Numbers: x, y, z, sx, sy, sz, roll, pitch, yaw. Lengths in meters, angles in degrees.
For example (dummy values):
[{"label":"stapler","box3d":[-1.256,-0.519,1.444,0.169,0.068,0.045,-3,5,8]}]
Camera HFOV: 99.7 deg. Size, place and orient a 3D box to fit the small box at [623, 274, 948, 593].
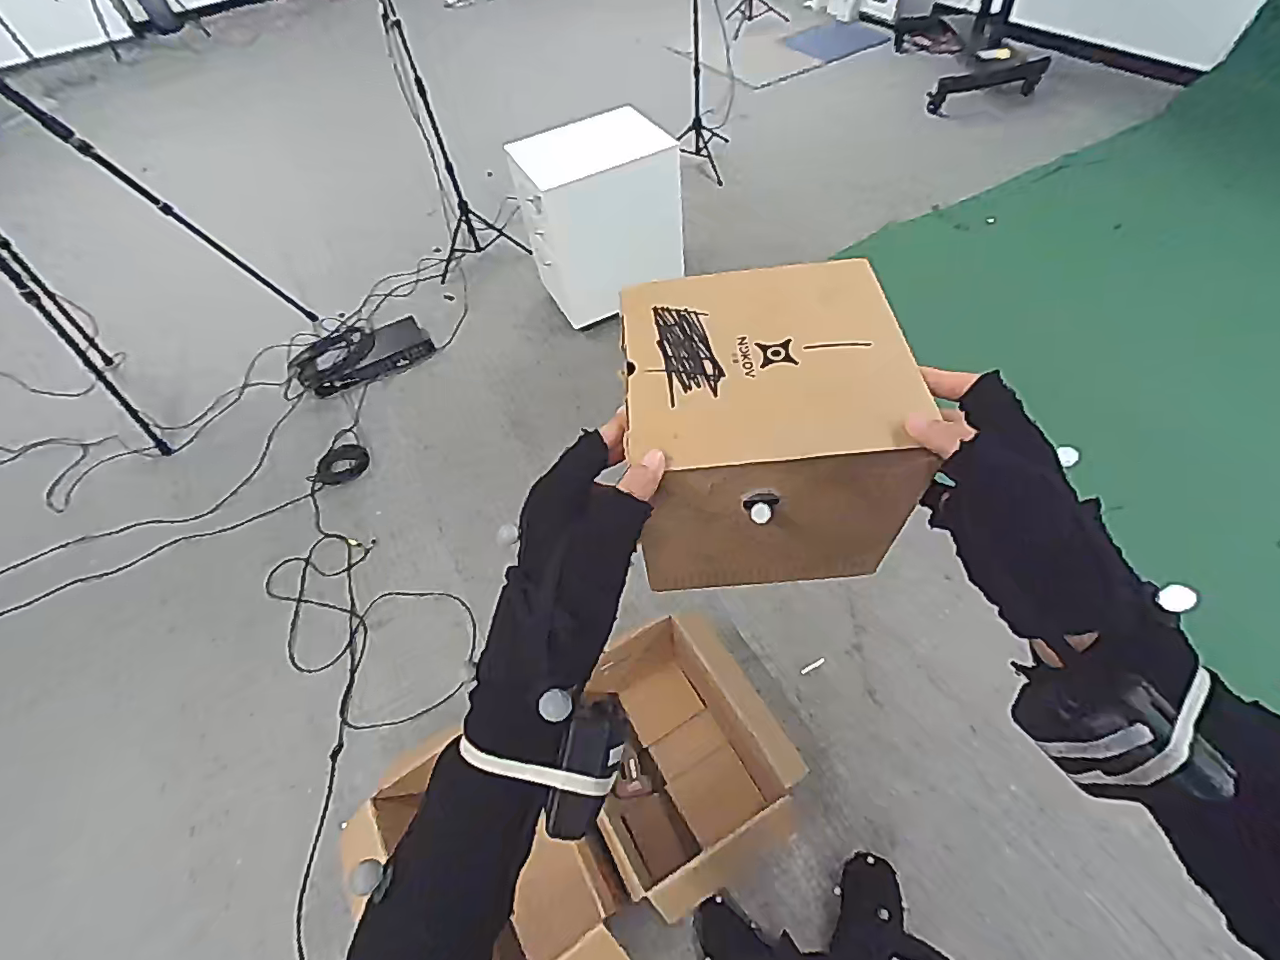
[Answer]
[{"label":"small box","box3d":[0.085,-0.024,0.403,0.179,0.176,0.168,-5,55,3]}]
